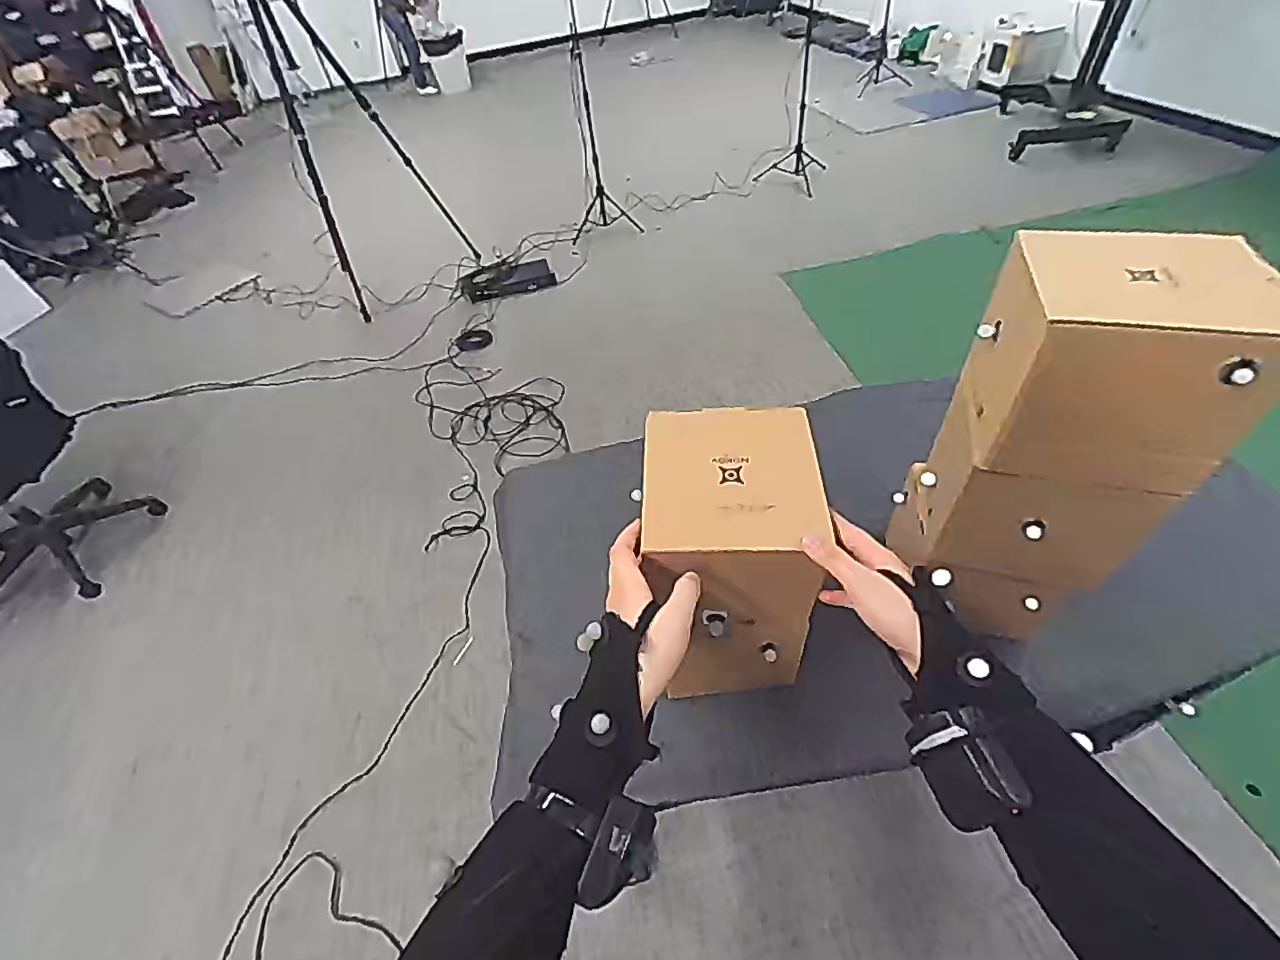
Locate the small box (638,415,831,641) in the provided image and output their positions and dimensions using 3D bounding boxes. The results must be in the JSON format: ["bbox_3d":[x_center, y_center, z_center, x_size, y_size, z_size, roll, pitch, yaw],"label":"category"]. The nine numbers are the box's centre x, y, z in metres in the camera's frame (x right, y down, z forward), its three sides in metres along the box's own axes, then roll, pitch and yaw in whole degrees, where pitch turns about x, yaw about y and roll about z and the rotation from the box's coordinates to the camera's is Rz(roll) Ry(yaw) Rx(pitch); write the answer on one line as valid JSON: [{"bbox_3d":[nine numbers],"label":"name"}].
[{"bbox_3d":[0.088,0.051,0.570,0.168,0.176,0.179,0,51,5],"label":"small box"}]

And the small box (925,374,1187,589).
[{"bbox_3d":[0.445,0.003,0.616,0.179,0.176,0.168,10,50,18],"label":"small box"}]

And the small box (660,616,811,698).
[{"bbox_3d":[0.115,0.178,0.733,0.179,0.176,0.168,-7,46,3],"label":"small box"}]

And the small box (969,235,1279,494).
[{"bbox_3d":[0.424,-0.106,0.497,0.179,0.176,0.168,9,49,16],"label":"small box"}]
